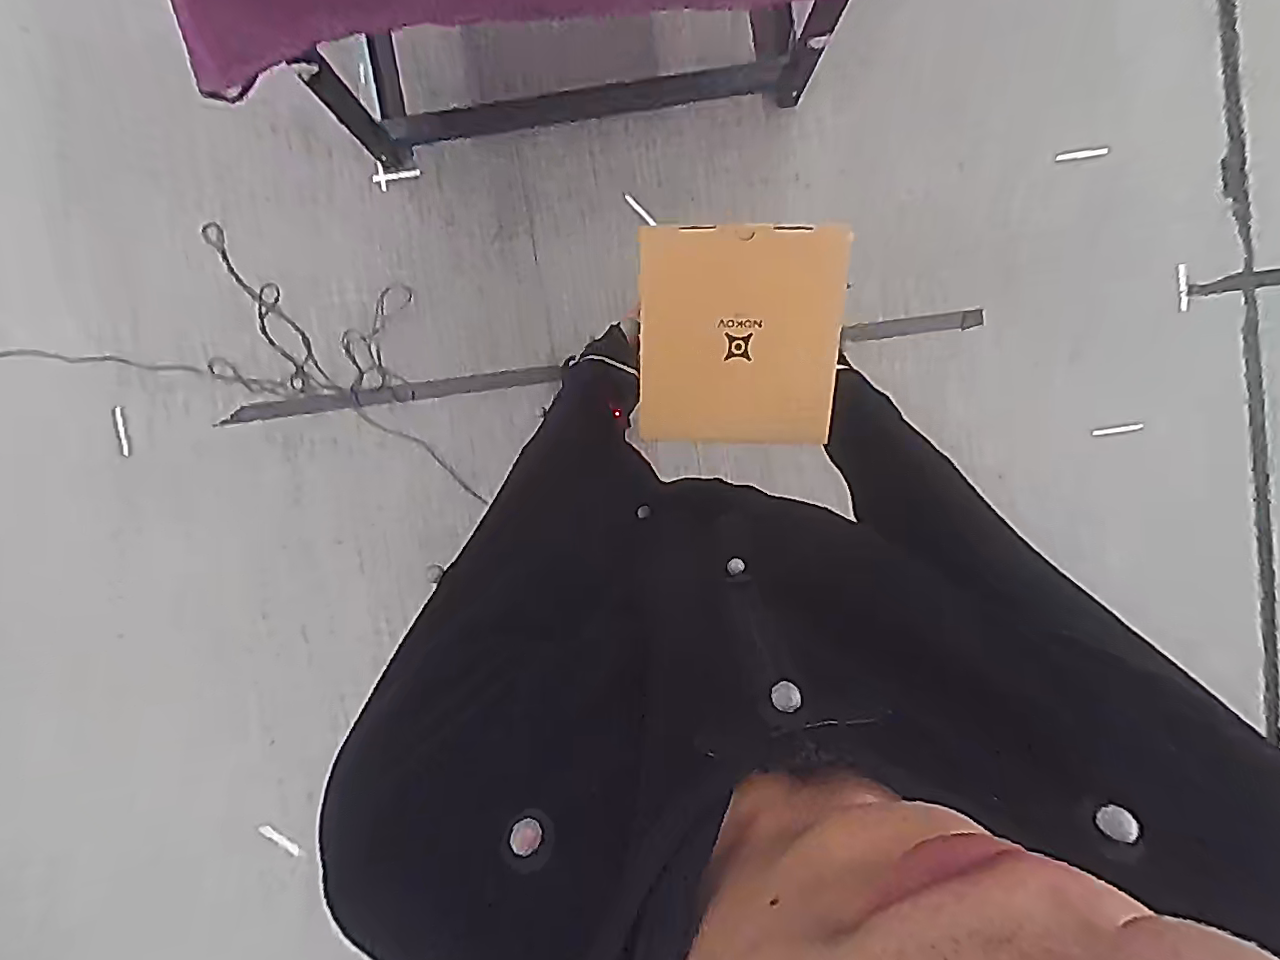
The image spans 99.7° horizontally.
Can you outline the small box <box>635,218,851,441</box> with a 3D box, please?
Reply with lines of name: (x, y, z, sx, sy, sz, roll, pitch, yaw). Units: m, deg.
small box: (0.084, -0.144, 0.517, 0.168, 0.176, 0.179, 1, 108, 3)
